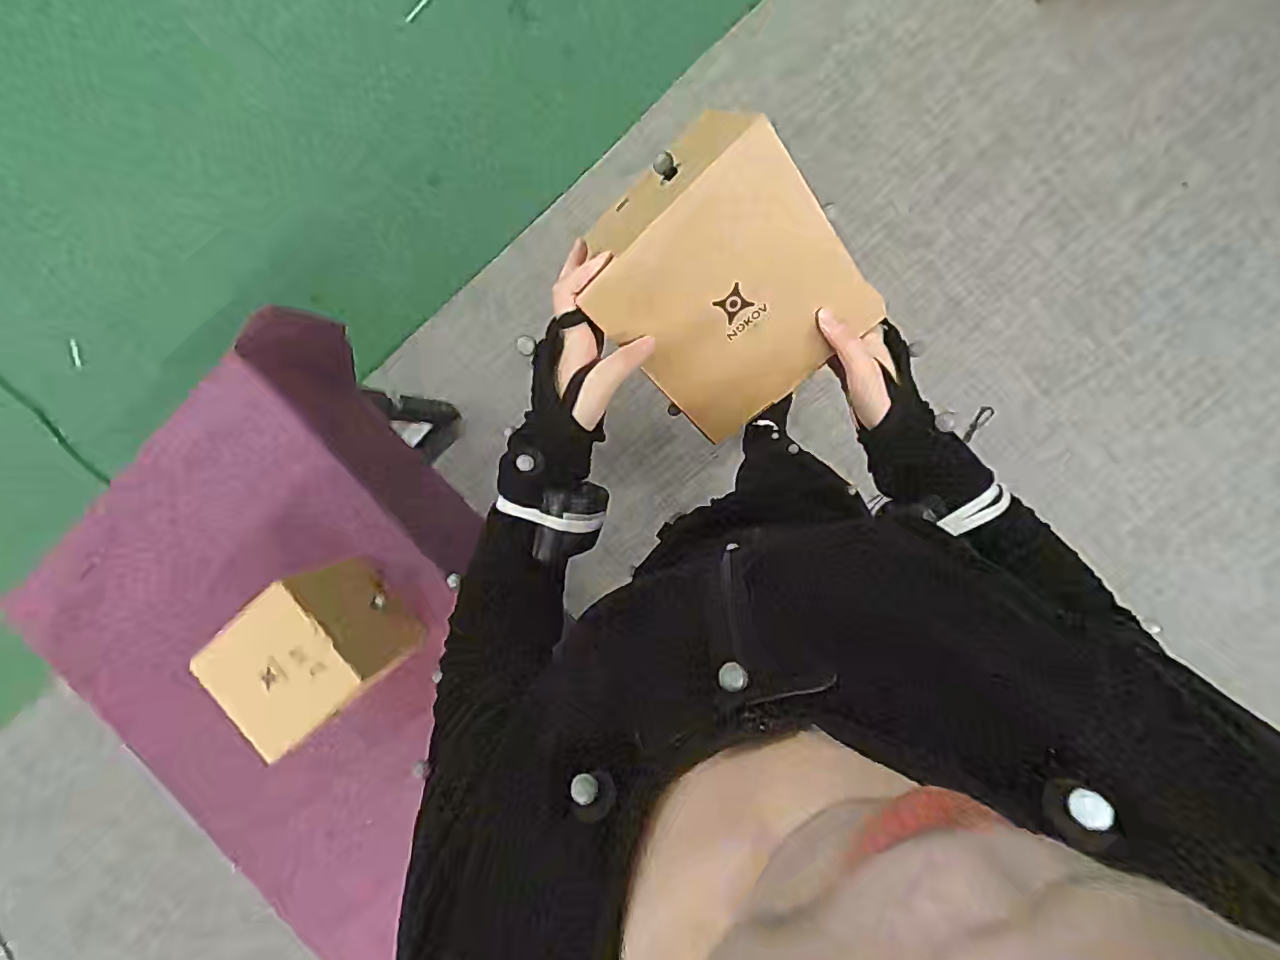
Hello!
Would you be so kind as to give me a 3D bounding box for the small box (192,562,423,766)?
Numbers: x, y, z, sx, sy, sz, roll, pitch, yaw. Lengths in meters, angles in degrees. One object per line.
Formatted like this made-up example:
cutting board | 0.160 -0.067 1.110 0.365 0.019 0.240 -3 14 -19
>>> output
small box | -0.442 0.240 0.748 0.179 0.176 0.168 -41 89 7
